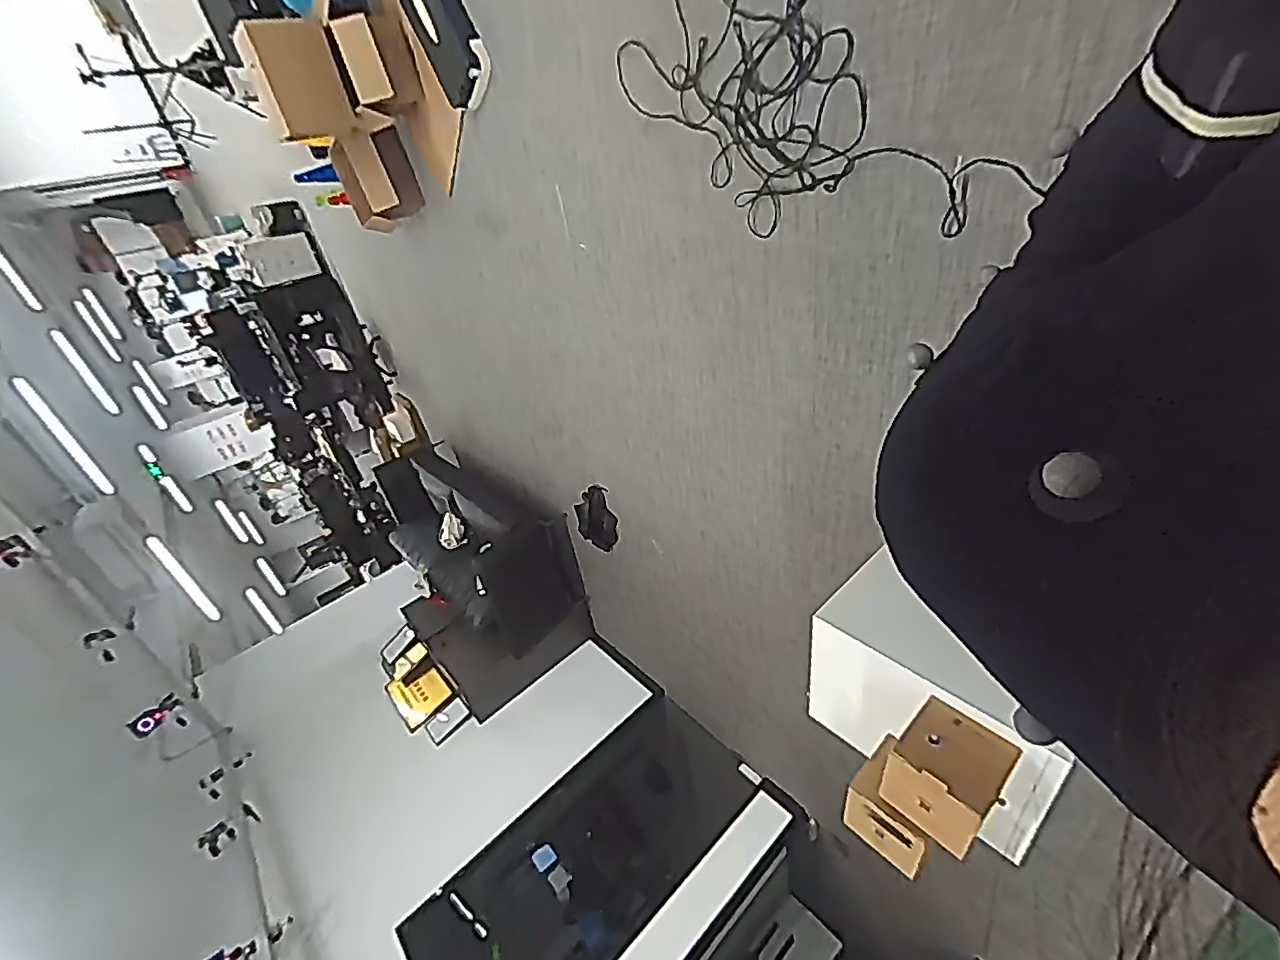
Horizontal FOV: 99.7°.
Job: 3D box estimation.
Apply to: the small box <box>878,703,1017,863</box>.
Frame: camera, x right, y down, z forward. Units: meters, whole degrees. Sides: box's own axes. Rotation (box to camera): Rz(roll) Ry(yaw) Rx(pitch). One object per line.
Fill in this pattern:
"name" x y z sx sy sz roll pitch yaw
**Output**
"small box" 0.586 0.569 1.035 0.168 0.176 0.179 30 141 43
